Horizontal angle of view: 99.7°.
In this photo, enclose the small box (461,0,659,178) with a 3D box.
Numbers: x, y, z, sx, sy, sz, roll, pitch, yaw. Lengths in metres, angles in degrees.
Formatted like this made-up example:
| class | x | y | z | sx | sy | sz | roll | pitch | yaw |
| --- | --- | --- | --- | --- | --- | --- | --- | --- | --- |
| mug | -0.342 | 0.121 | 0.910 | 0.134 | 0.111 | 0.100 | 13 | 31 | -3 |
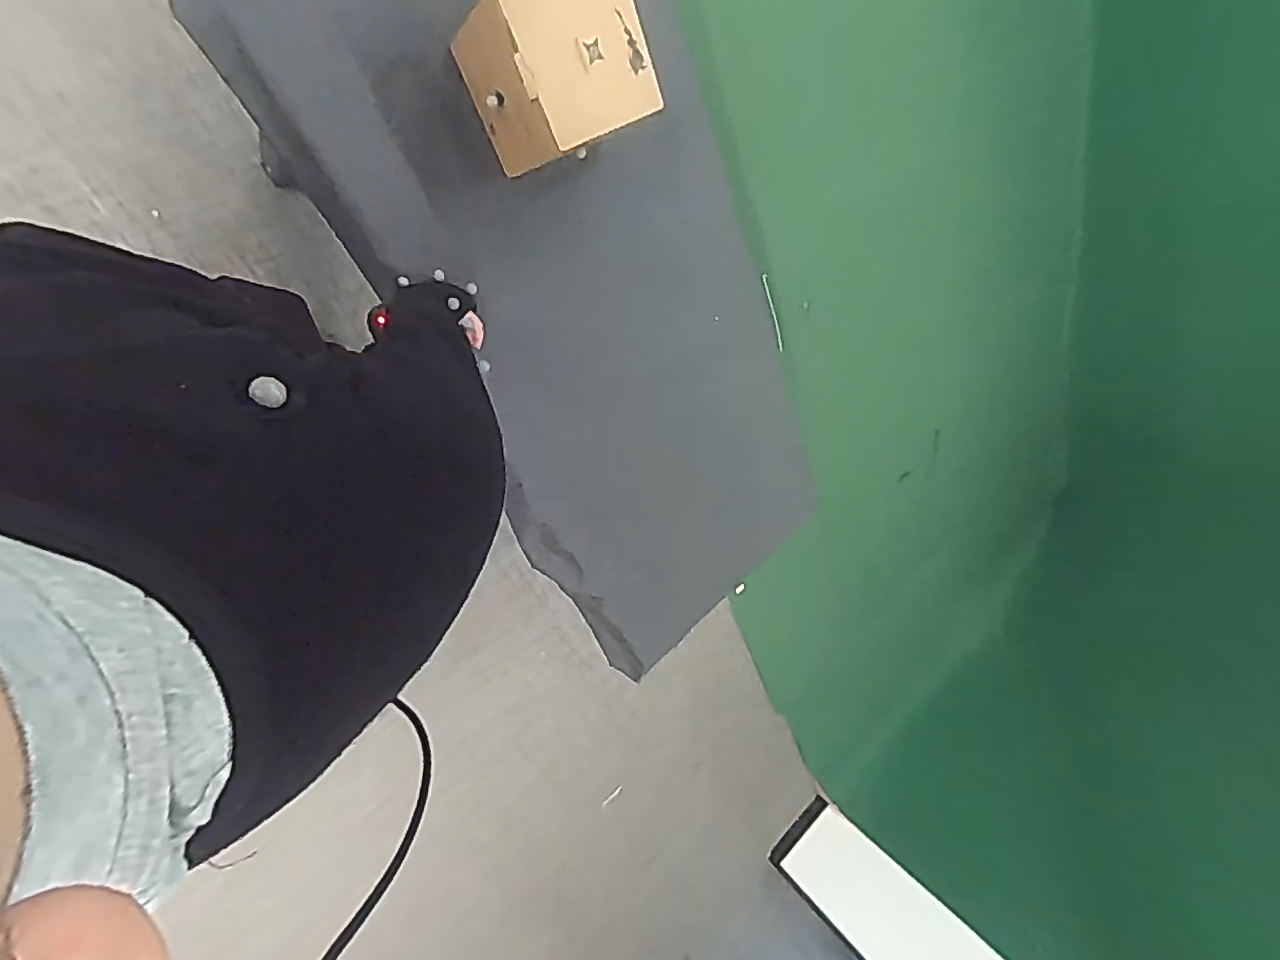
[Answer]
| class | x | y | z | sx | sy | sz | roll | pitch | yaw |
| --- | --- | --- | --- | --- | --- | --- | --- | --- | --- |
| small box | -0.111 | -0.518 | 0.703 | 0.179 | 0.176 | 0.168 | -37 | 123 | -20 |
